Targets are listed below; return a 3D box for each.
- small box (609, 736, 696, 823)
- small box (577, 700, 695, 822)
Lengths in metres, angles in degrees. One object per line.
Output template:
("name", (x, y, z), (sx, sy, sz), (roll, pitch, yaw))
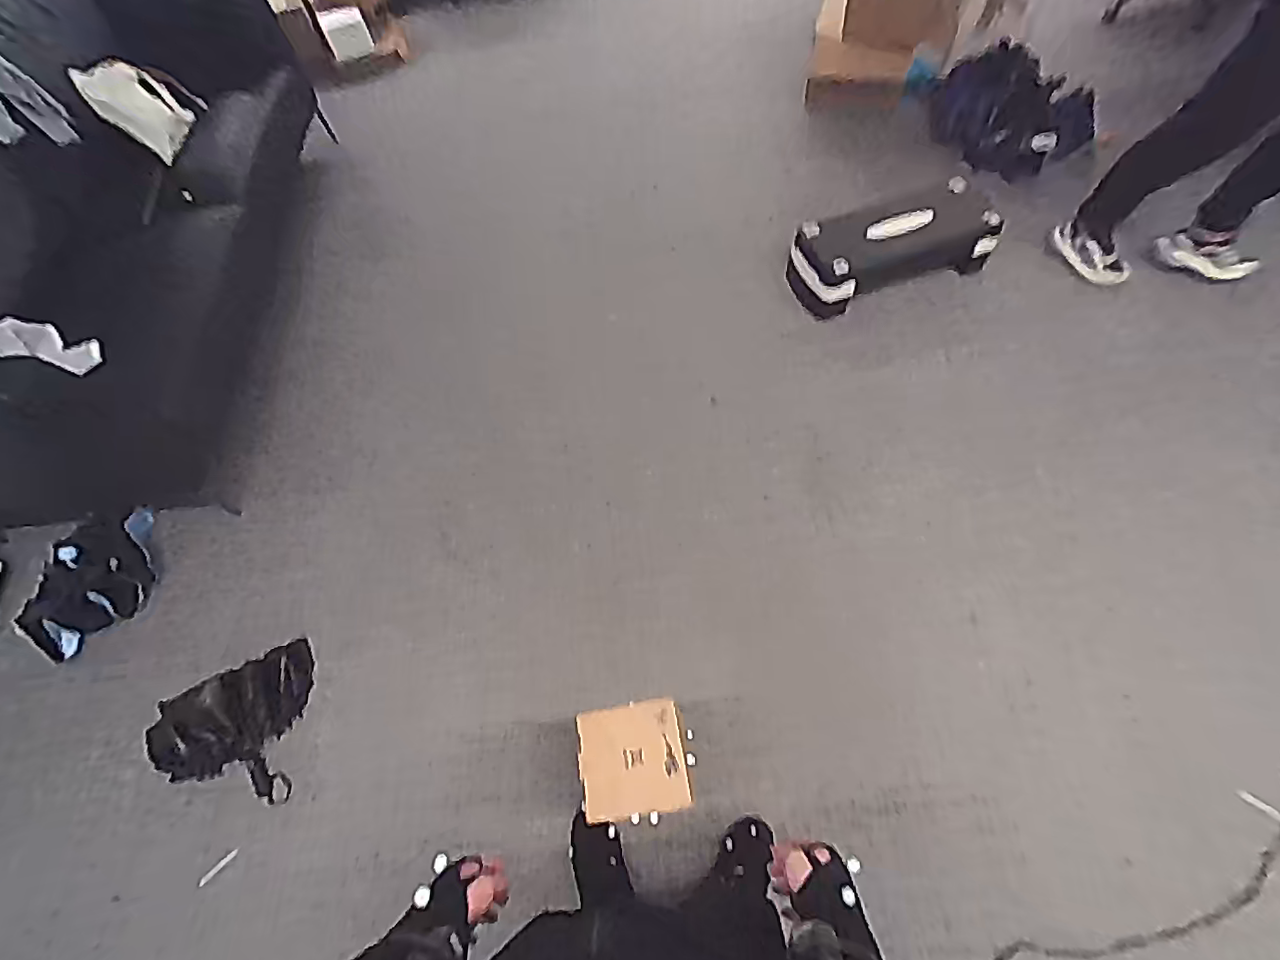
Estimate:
("small box", (0.019, 0.592, 1.118), (0.168, 0.176, 0.179), (-11, 62, 2))
("small box", (-0.003, 0.509, 0.979), (0.179, 0.176, 0.168), (-12, 61, 2))
